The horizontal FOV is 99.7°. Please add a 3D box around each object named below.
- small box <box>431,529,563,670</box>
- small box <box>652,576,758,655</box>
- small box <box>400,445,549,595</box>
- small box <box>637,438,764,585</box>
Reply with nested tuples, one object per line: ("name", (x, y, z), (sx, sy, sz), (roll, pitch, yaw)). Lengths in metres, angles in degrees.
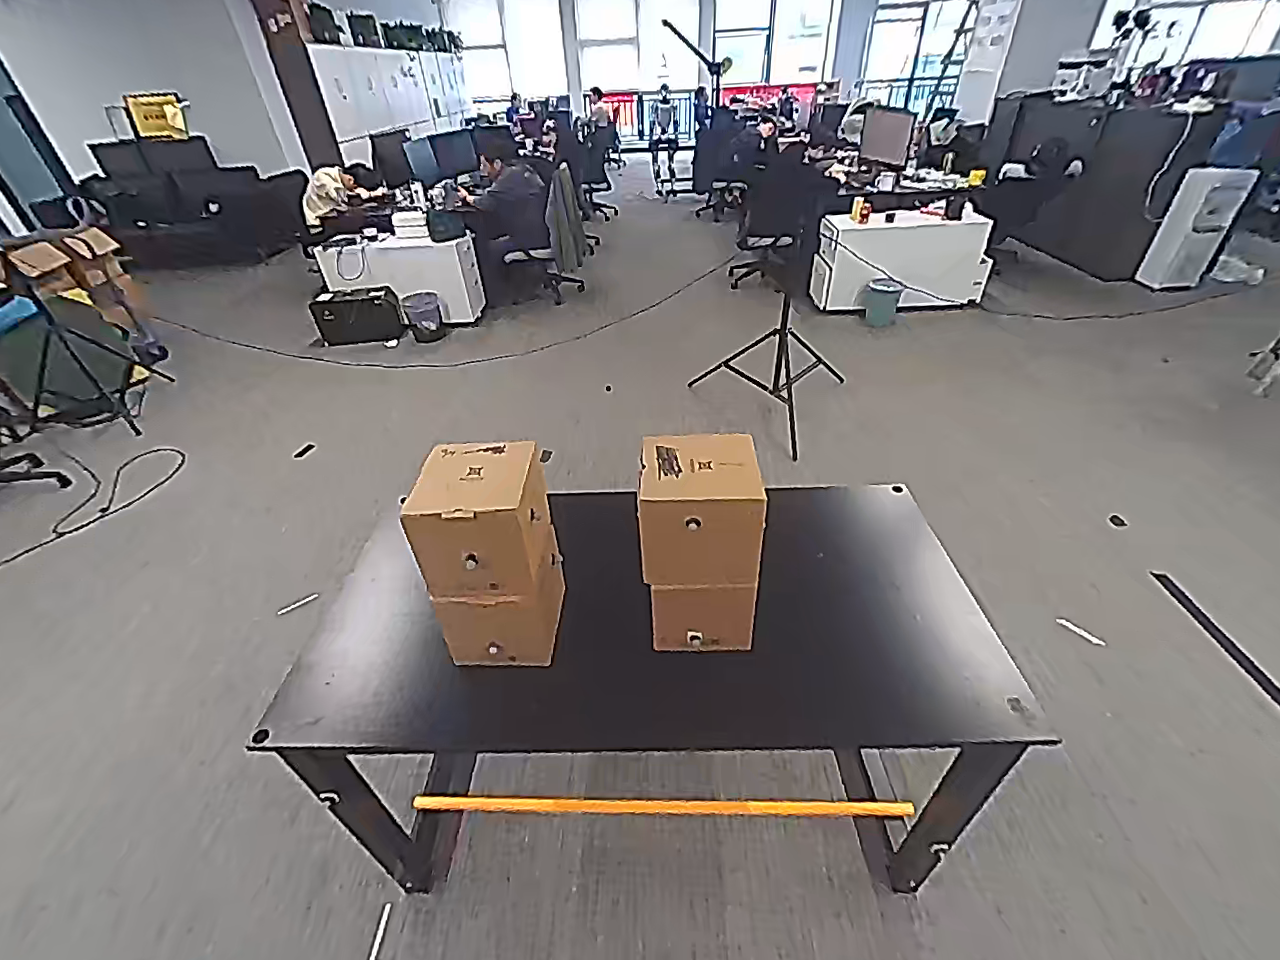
("small box", (-0.233, 0.202, 0.935), (0.168, 0.176, 0.179), (-1, 37, 4))
("small box", (0.104, 0.182, 0.941), (0.168, 0.176, 0.179), (-3, 38, 2))
("small box", (-0.242, 0.065, 0.843), (0.168, 0.176, 0.179), (-2, 37, 1))
("small box", (0.091, 0.050, 0.843), (0.179, 0.176, 0.168), (-1, 37, 3))
